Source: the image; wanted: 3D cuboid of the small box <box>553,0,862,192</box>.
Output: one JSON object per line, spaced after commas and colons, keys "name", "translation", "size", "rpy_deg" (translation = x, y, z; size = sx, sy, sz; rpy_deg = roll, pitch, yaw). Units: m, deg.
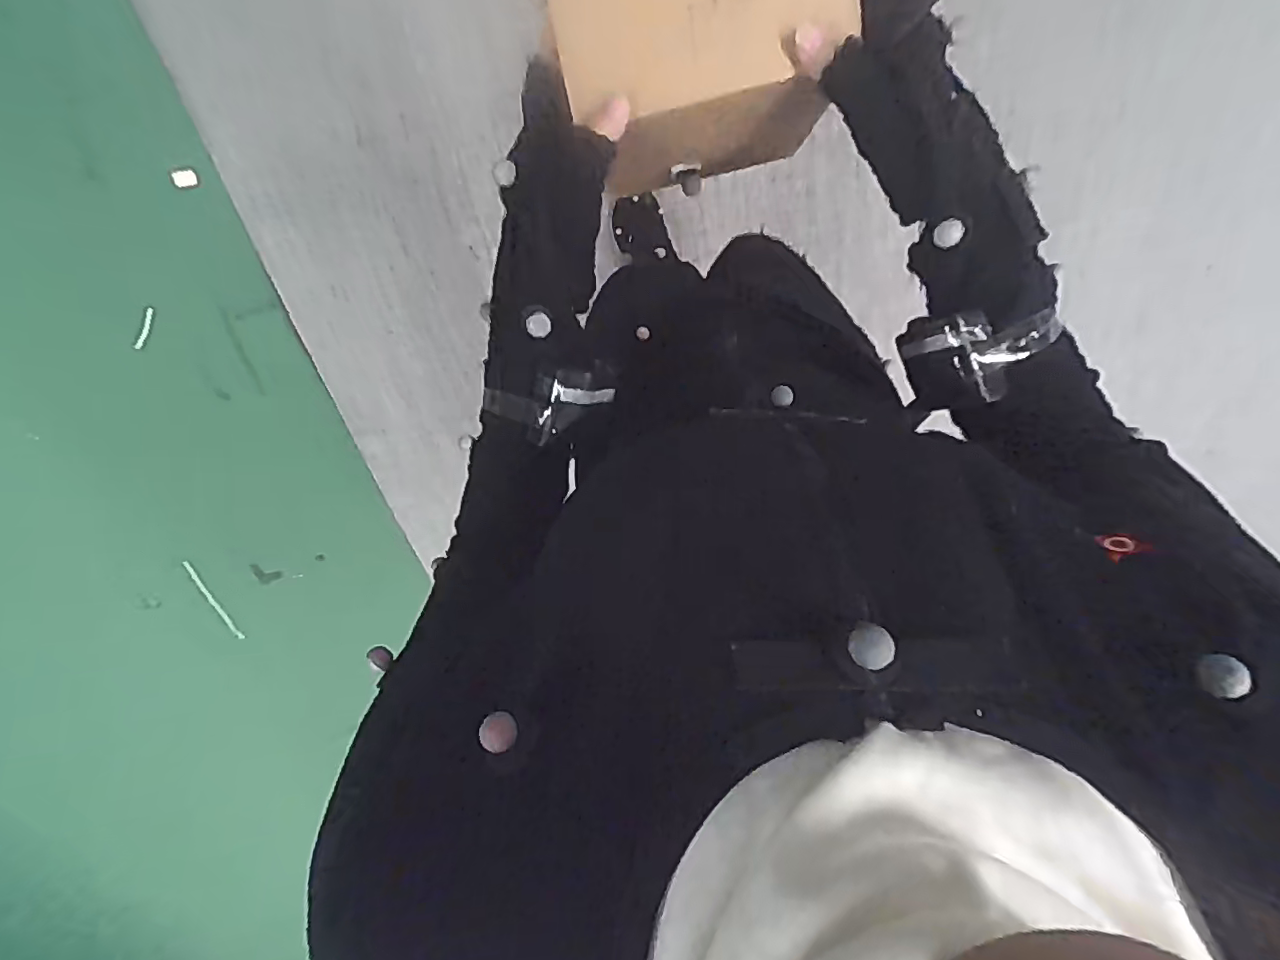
{"name": "small box", "translation": [0.030, -0.324, 0.363], "size": [0.168, 0.176, 0.179], "rpy_deg": [-11, 104, 6]}
